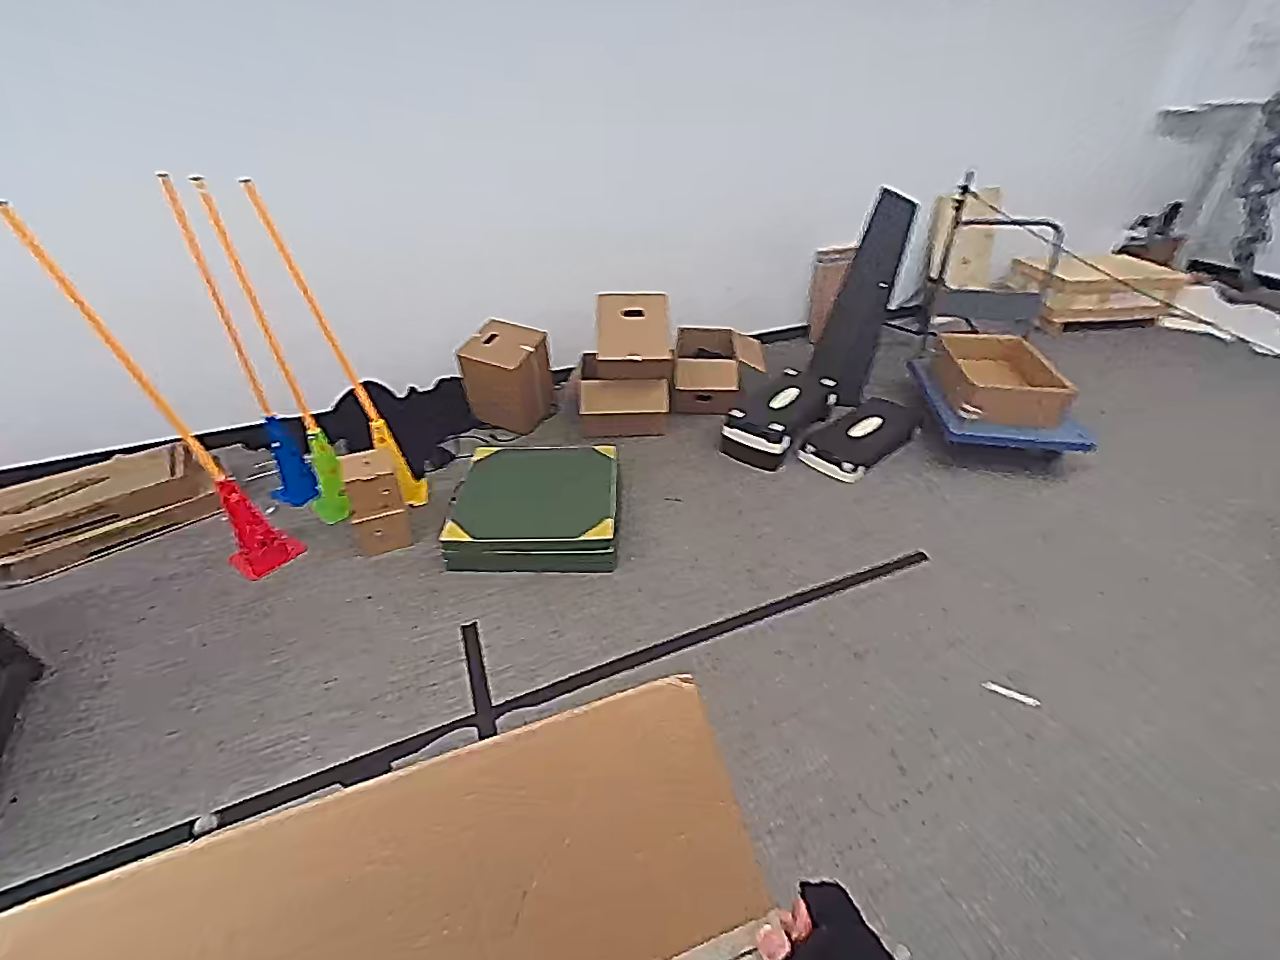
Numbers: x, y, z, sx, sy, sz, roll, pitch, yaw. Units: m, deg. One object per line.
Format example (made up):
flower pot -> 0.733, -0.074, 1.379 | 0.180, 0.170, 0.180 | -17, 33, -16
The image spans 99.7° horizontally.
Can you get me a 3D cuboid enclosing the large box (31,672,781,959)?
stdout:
large box -> -0.124, 0.385, 0.428 | 0.408, 0.320, 0.320 | -14, 69, -13
